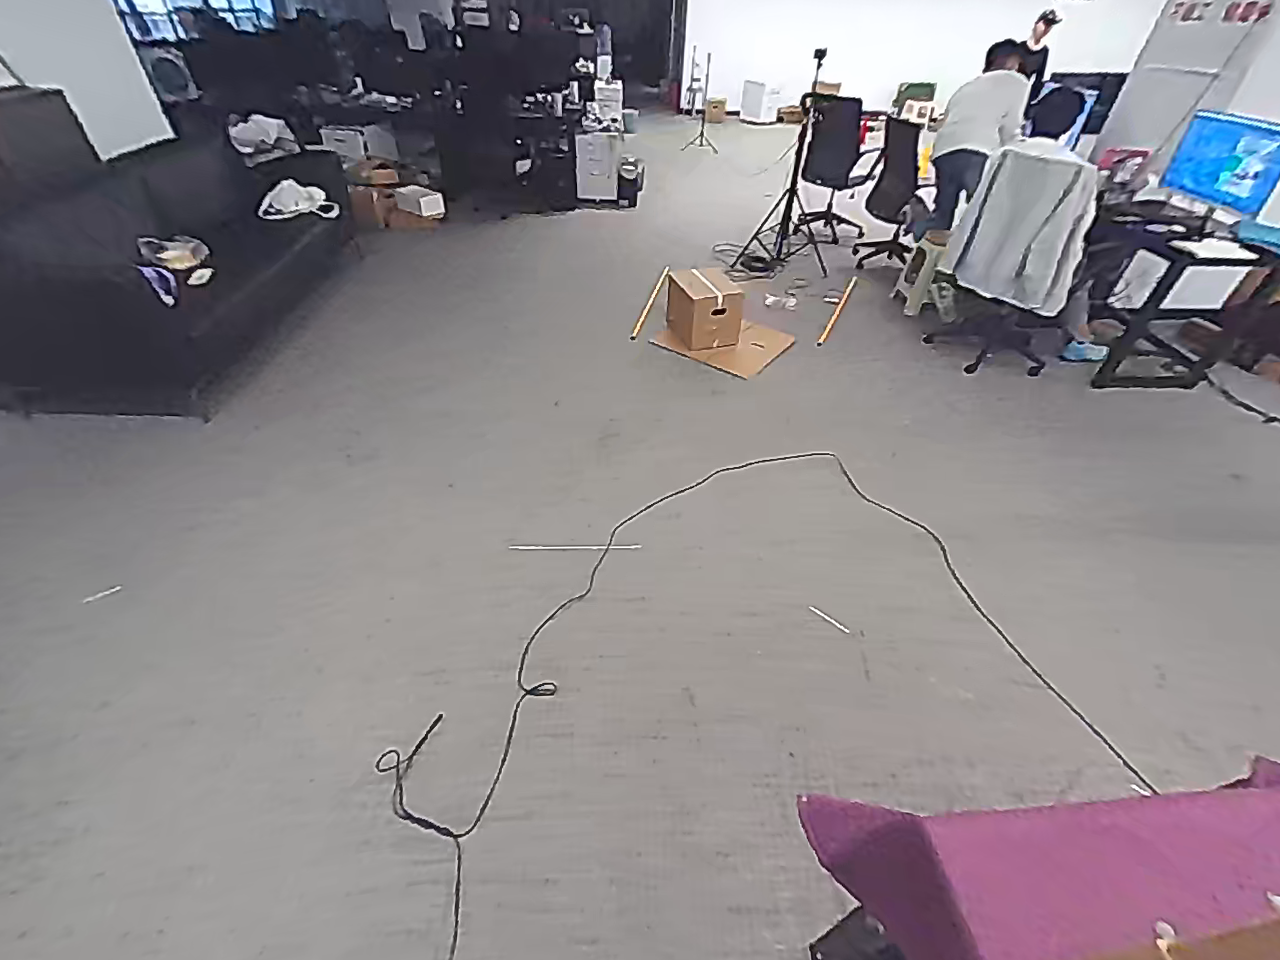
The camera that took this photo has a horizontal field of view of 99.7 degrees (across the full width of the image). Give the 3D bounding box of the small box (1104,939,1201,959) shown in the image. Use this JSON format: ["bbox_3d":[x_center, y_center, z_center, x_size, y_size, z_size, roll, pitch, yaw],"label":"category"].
[{"bbox_3d":[0.551,0.529,0.480,0.179,0.176,0.168,1,42,-2],"label":"small box"}]
